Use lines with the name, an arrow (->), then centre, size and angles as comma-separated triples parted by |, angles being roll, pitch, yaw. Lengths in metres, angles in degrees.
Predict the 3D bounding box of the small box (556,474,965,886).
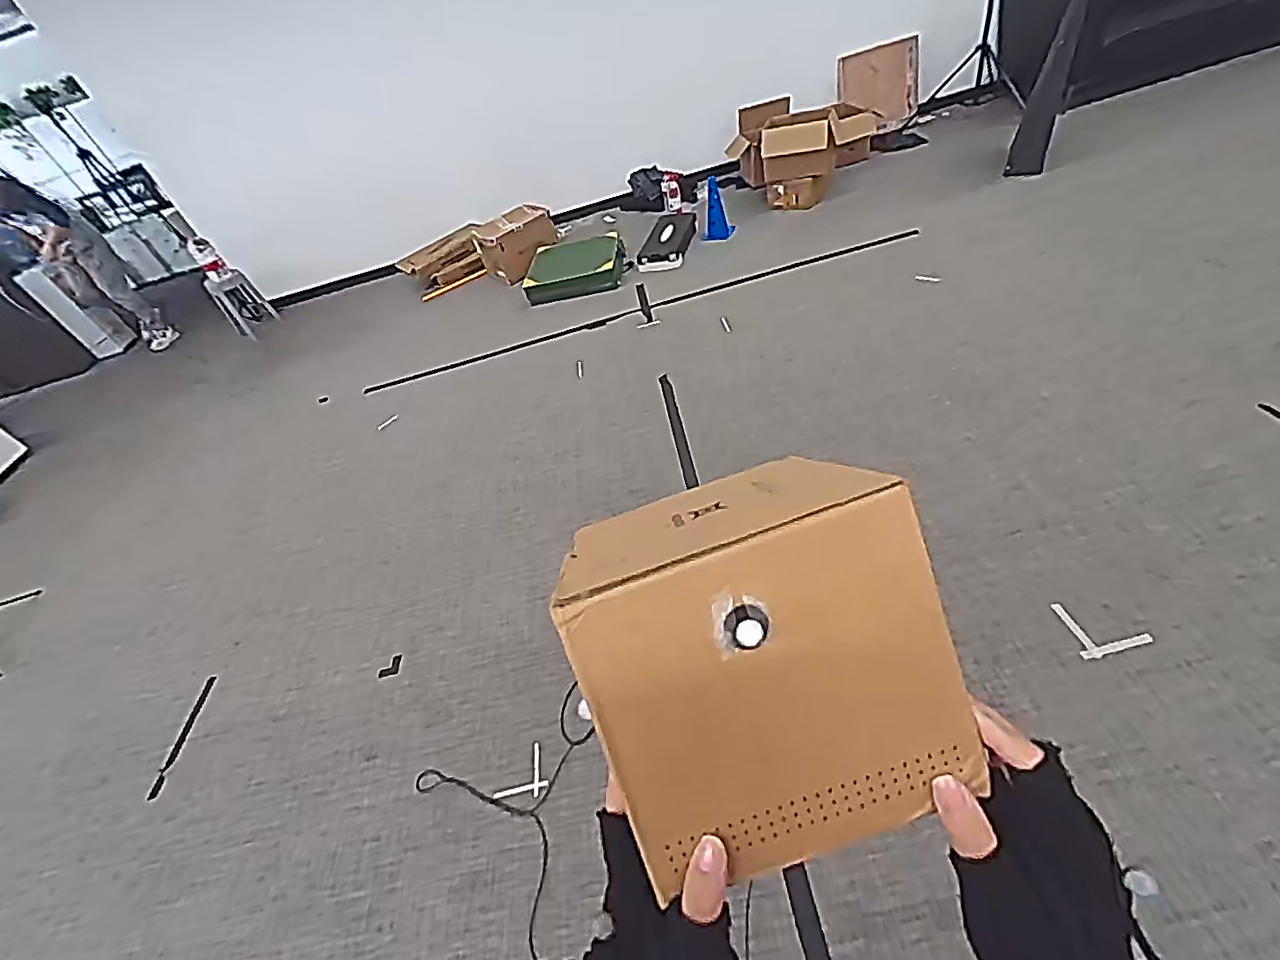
small box -> 0.066, 0.109, 0.349 | 0.179, 0.176, 0.168 | -19, 6, 1
